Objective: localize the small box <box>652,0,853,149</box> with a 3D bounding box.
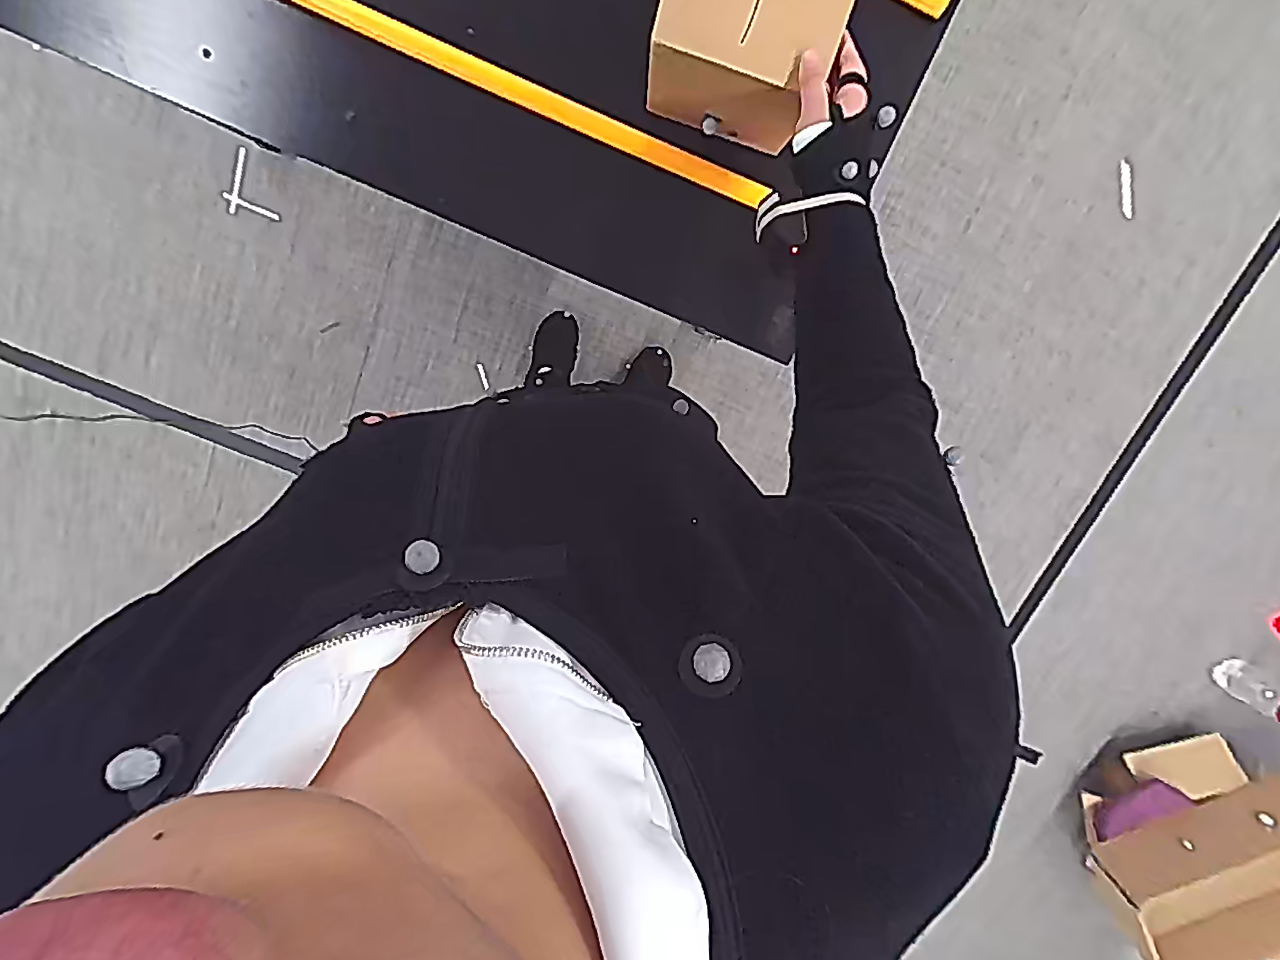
[{"bbox_3d":[0.112,-0.476,0.548,0.168,0.176,0.179,17,105,-5],"label":"small box"}]
